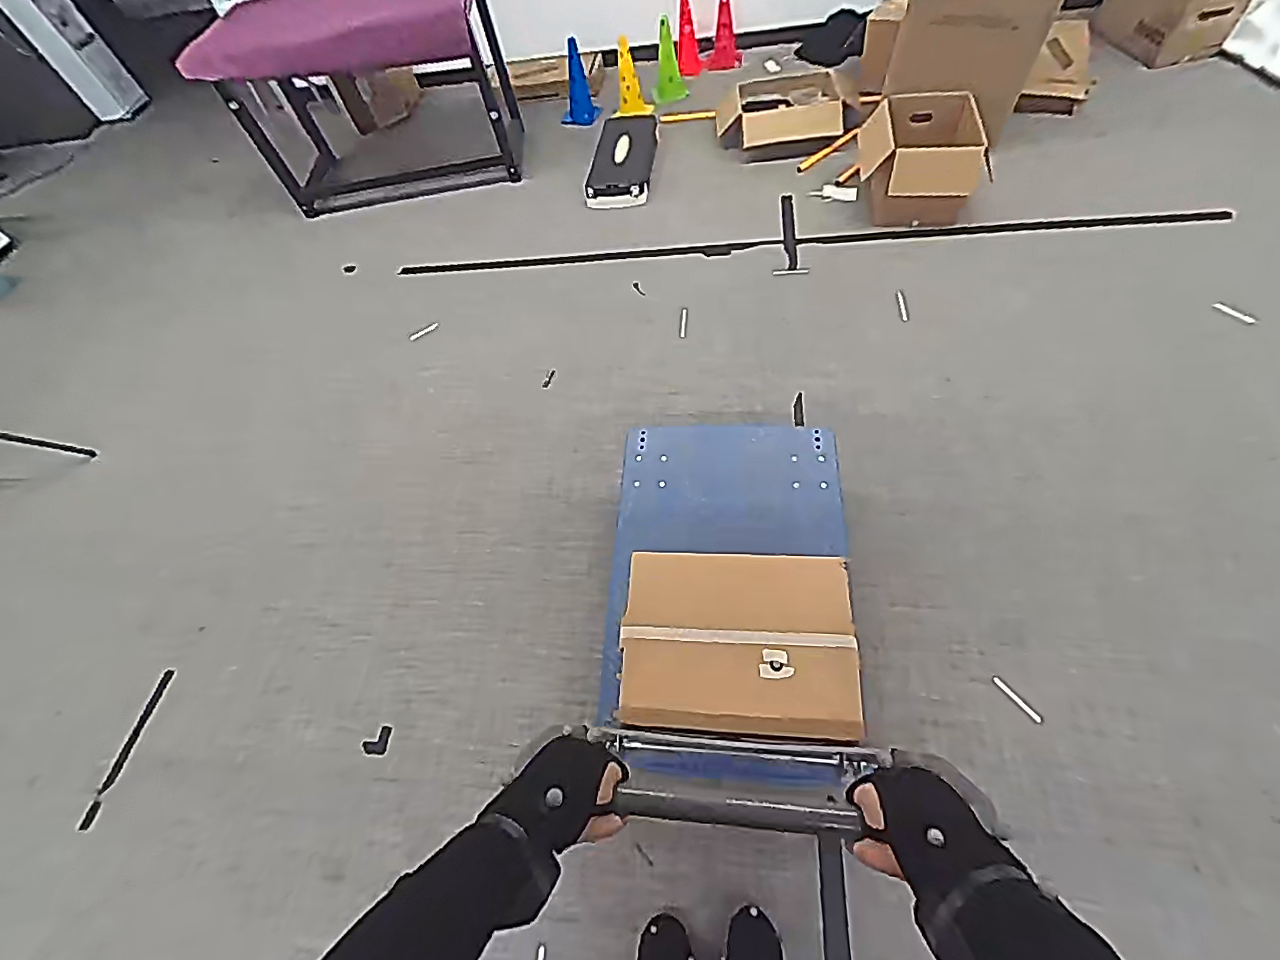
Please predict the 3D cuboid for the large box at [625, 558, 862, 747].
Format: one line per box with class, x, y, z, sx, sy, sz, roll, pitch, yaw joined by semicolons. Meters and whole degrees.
large box;0.191;0.360;1.107;0.408;0.320;0.320;0;62;7
